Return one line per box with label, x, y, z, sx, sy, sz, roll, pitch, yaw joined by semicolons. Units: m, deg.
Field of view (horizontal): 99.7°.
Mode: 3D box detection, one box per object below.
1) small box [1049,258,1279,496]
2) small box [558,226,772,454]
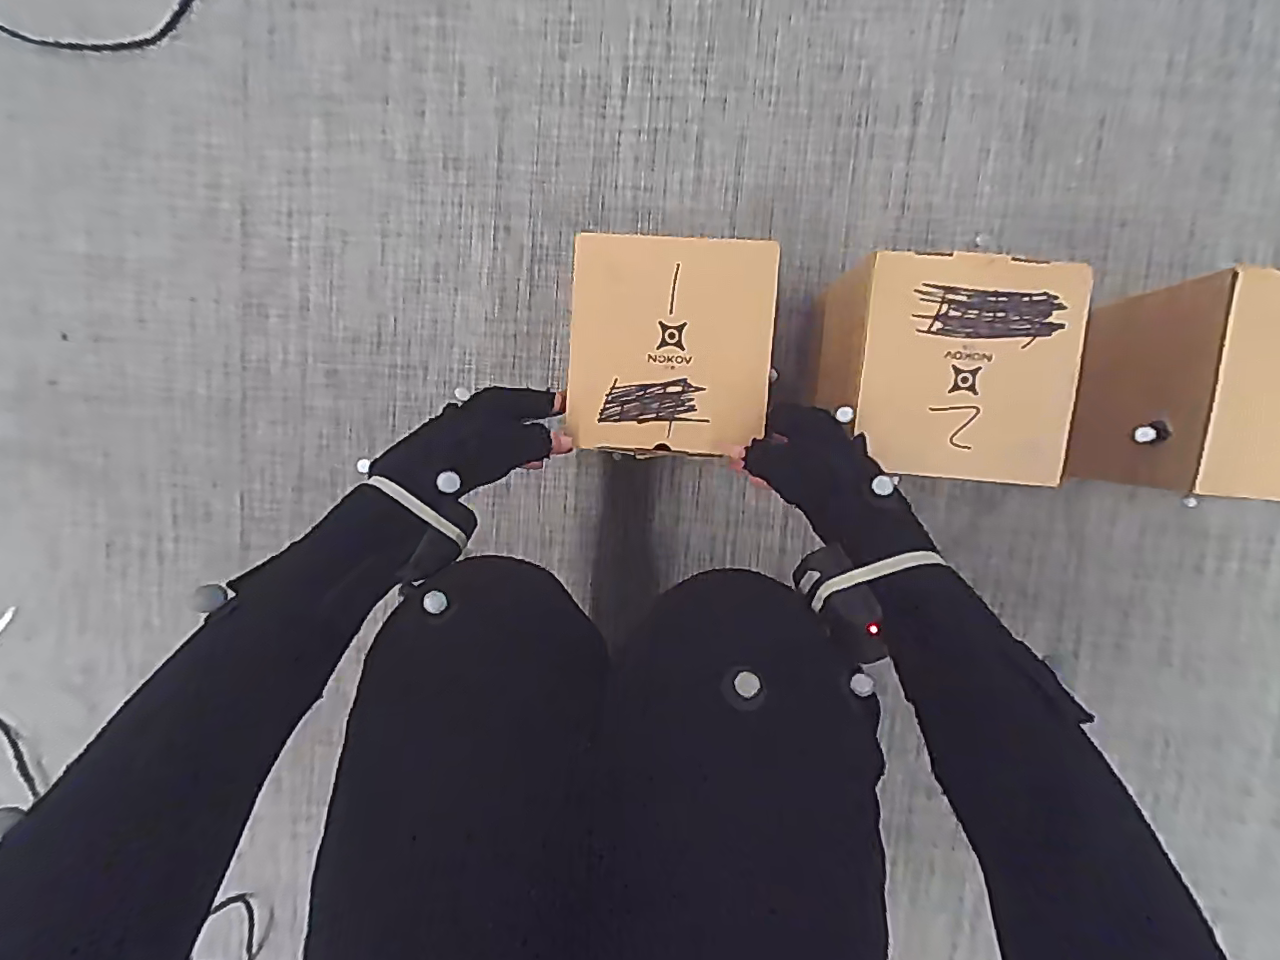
small box;0.515;-0.081;0.488;0.168;0.176;0.179;5;95;3
small box;0.025;-0.120;0.519;0.168;0.176;0.179;4;94;4
